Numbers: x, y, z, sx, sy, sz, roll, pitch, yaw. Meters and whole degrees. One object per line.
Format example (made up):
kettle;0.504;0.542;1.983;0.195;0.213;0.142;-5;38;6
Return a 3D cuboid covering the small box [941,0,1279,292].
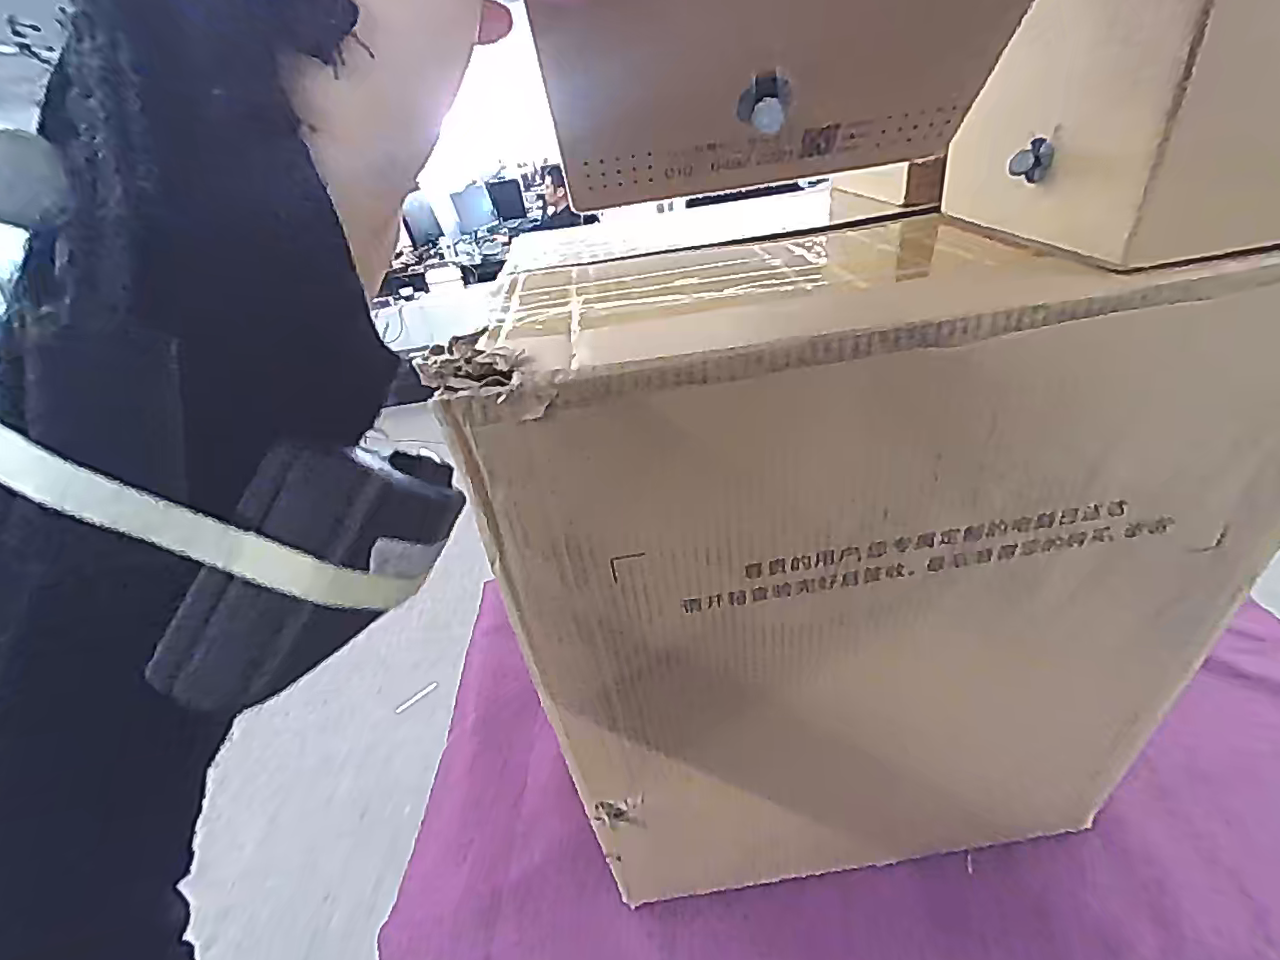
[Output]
small box;0.289;-0.216;0.280;0.168;0.176;0.179;-9;33;3

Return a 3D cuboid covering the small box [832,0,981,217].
small box;0.272;-0.332;0.459;0.168;0.176;0.179;-9;33;3
